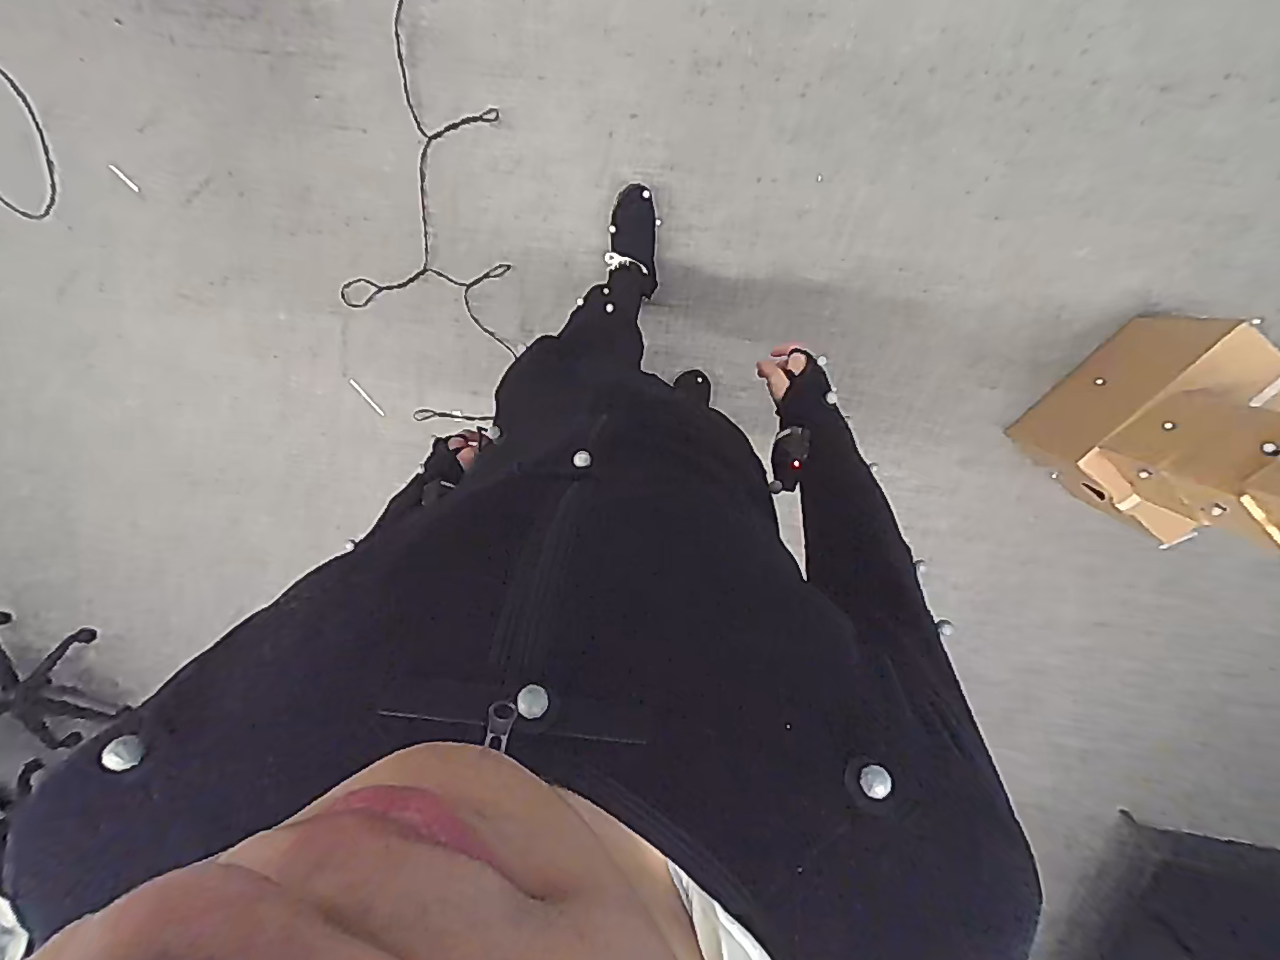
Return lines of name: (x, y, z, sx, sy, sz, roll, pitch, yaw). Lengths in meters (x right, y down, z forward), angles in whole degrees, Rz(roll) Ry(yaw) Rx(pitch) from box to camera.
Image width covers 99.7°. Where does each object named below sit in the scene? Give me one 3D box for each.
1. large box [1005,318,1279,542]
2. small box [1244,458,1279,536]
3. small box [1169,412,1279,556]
large box: (1.223, -0.134, 1.311, 0.320, 0.320, 0.408, 38, 107, -8)
small box: (1.068, 0.038, 0.779, 0.179, 0.176, 0.168, 43, 106, -8)
small box: (1.092, 0.005, 0.939, 0.168, 0.176, 0.179, 42, 106, -7)
